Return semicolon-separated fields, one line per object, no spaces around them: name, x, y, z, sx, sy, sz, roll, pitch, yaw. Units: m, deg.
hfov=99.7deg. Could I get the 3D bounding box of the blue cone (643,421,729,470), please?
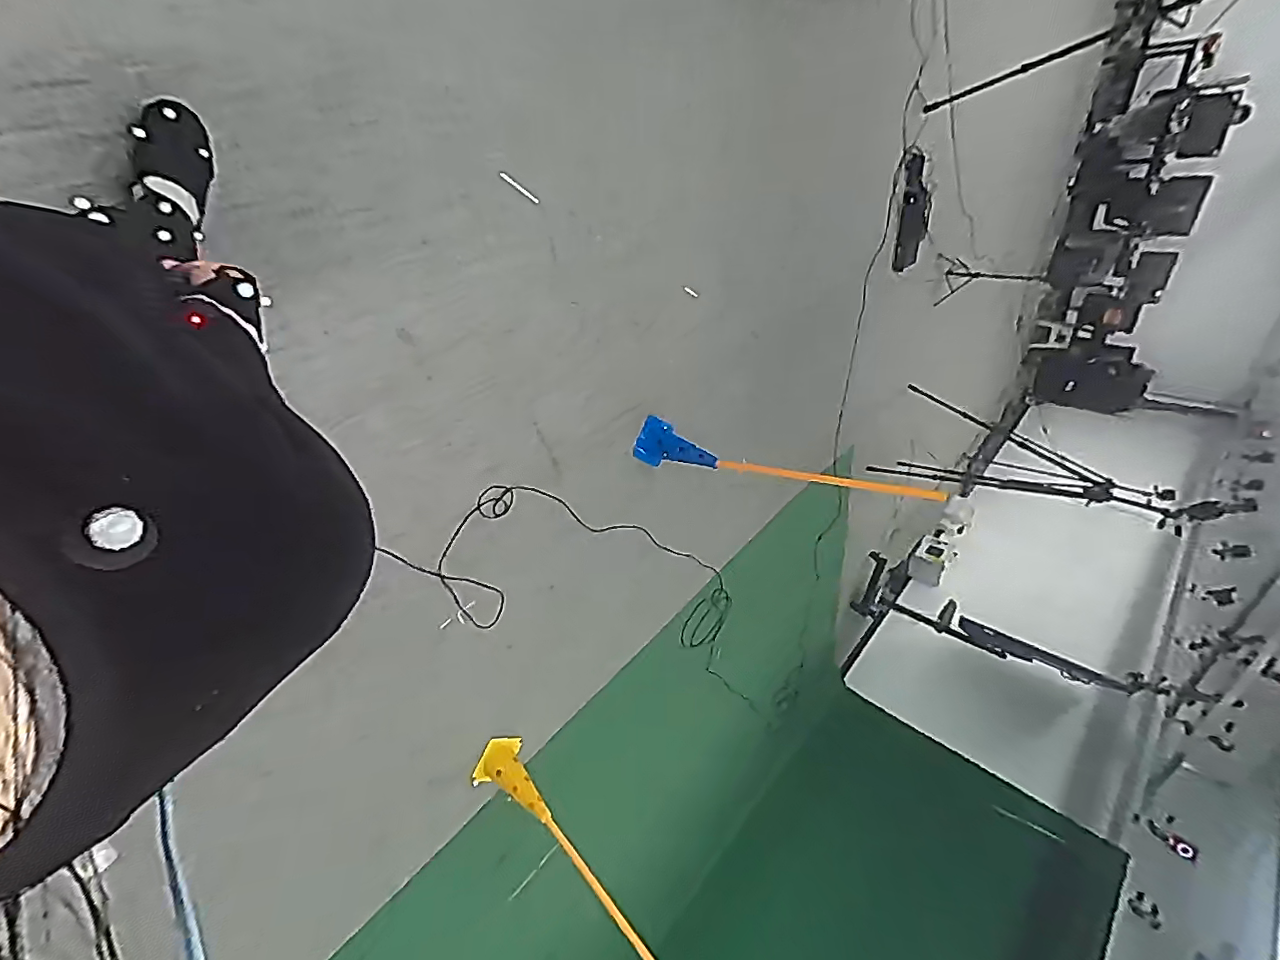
blue cone;0.208;-0.110;2.270;0.192;0.380;0.193;19;92;-50
